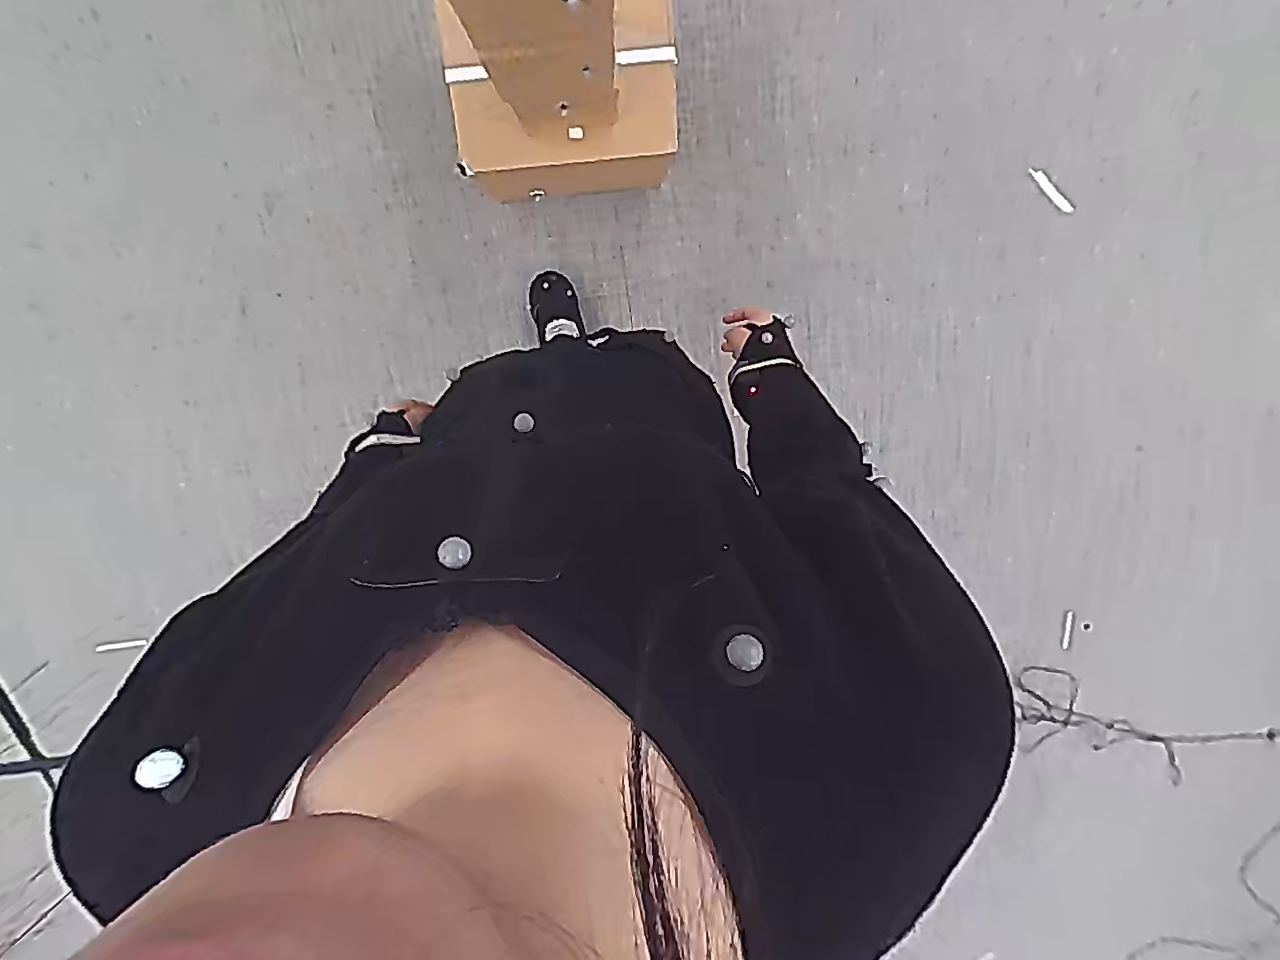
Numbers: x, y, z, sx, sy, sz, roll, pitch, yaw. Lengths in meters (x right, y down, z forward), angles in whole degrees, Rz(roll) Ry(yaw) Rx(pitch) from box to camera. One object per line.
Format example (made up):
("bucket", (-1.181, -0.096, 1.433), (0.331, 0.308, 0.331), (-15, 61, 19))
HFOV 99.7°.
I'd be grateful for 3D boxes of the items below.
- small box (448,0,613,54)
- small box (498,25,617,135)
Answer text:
("small box", (-0.119, -0.587, 0.575), (0.179, 0.176, 0.168), (-5, 109, -2))
("small box", (-0.134, -0.690, 0.888), (0.179, 0.176, 0.168), (-9, 110, -1))
